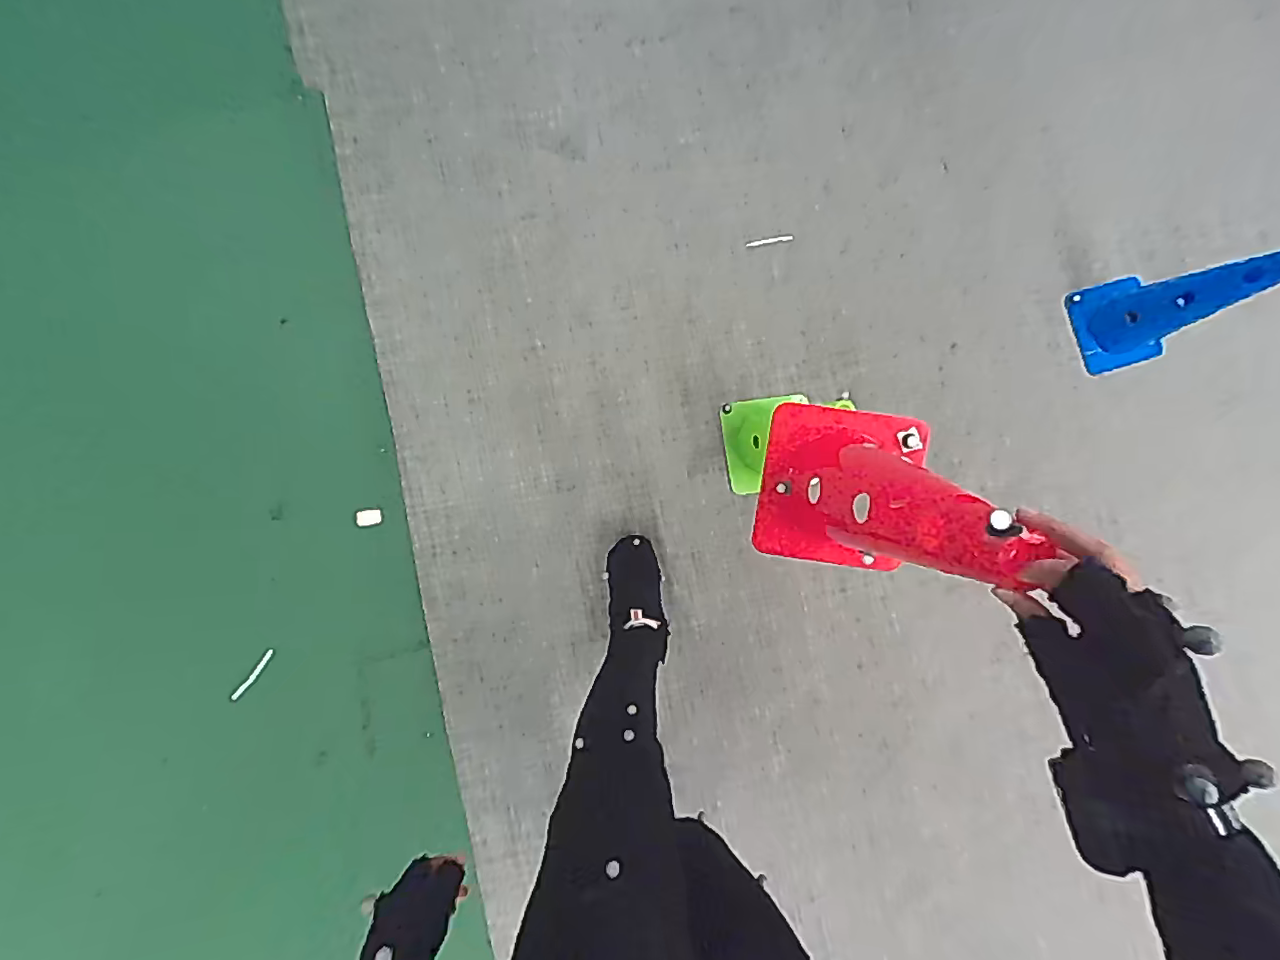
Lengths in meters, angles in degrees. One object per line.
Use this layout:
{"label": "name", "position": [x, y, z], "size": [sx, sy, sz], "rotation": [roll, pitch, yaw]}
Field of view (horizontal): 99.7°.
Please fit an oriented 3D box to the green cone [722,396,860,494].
{"label": "green cone", "position": [0.302, -0.089, 1.011], "size": [0.202, 0.368, 0.200], "rotation": [-9, 87, -5]}
